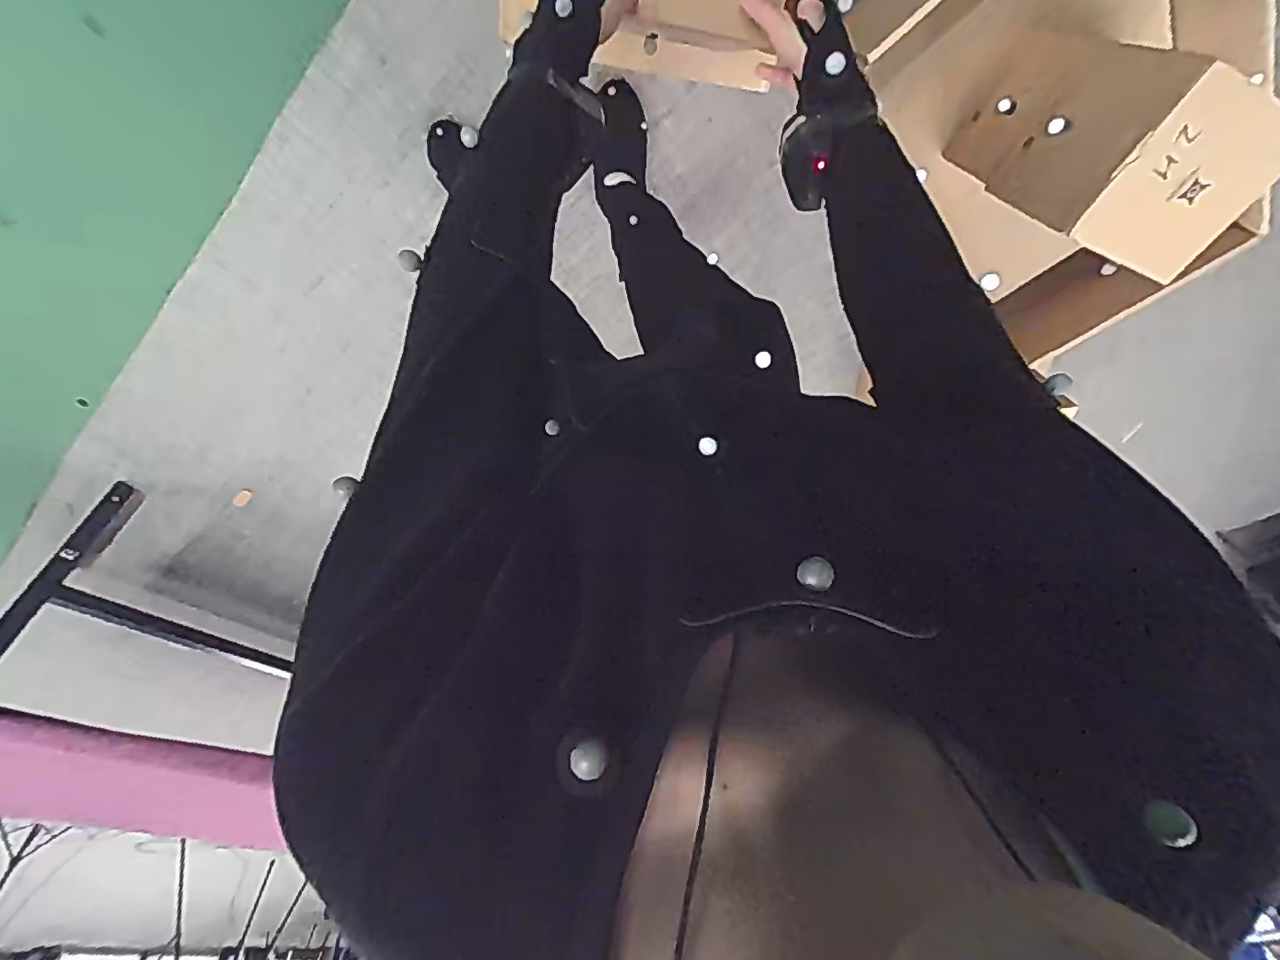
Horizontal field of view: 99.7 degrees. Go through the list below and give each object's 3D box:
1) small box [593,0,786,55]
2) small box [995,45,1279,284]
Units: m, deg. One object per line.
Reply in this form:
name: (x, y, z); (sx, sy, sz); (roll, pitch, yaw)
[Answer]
small box: (0.049, -0.525, 0.505); (0.168, 0.176, 0.179); (3, 125, -11)
small box: (0.559, -0.354, 0.606); (0.179, 0.176, 0.168); (13, 131, -16)
